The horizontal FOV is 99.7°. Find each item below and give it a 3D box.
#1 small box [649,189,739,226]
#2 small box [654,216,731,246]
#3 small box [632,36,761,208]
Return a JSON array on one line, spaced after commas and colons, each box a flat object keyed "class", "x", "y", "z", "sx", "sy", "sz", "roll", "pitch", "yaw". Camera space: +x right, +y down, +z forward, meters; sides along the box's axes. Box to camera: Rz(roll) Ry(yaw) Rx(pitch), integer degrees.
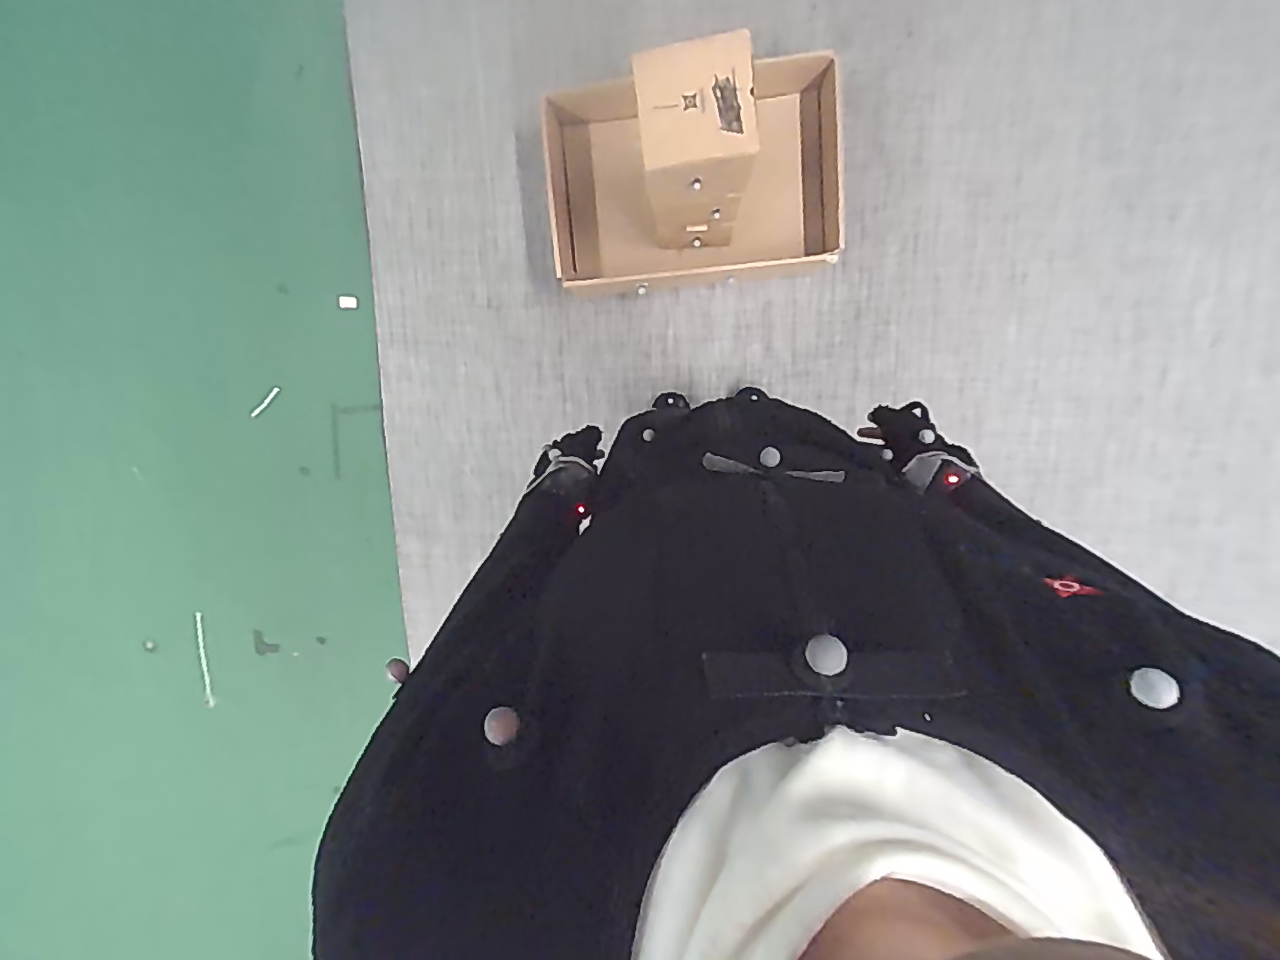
[{"class": "small box", "x": 0.104, "y": -0.604, "z": 1.044, "sx": 0.168, "sy": 0.176, "sz": 0.179, "roll": -2, "pitch": 98, "yaw": 5}, {"class": "small box", "x": 0.119, "y": -0.629, "z": 1.203, "sx": 0.168, "sy": 0.176, "sz": 0.179, "roll": -1, "pitch": 100, "yaw": 6}, {"class": "small box", "x": 0.090, "y": -0.569, "z": 0.884, "sx": 0.179, "sy": 0.176, "sz": 0.168, "roll": -9, "pitch": 99, "yaw": 6}]
